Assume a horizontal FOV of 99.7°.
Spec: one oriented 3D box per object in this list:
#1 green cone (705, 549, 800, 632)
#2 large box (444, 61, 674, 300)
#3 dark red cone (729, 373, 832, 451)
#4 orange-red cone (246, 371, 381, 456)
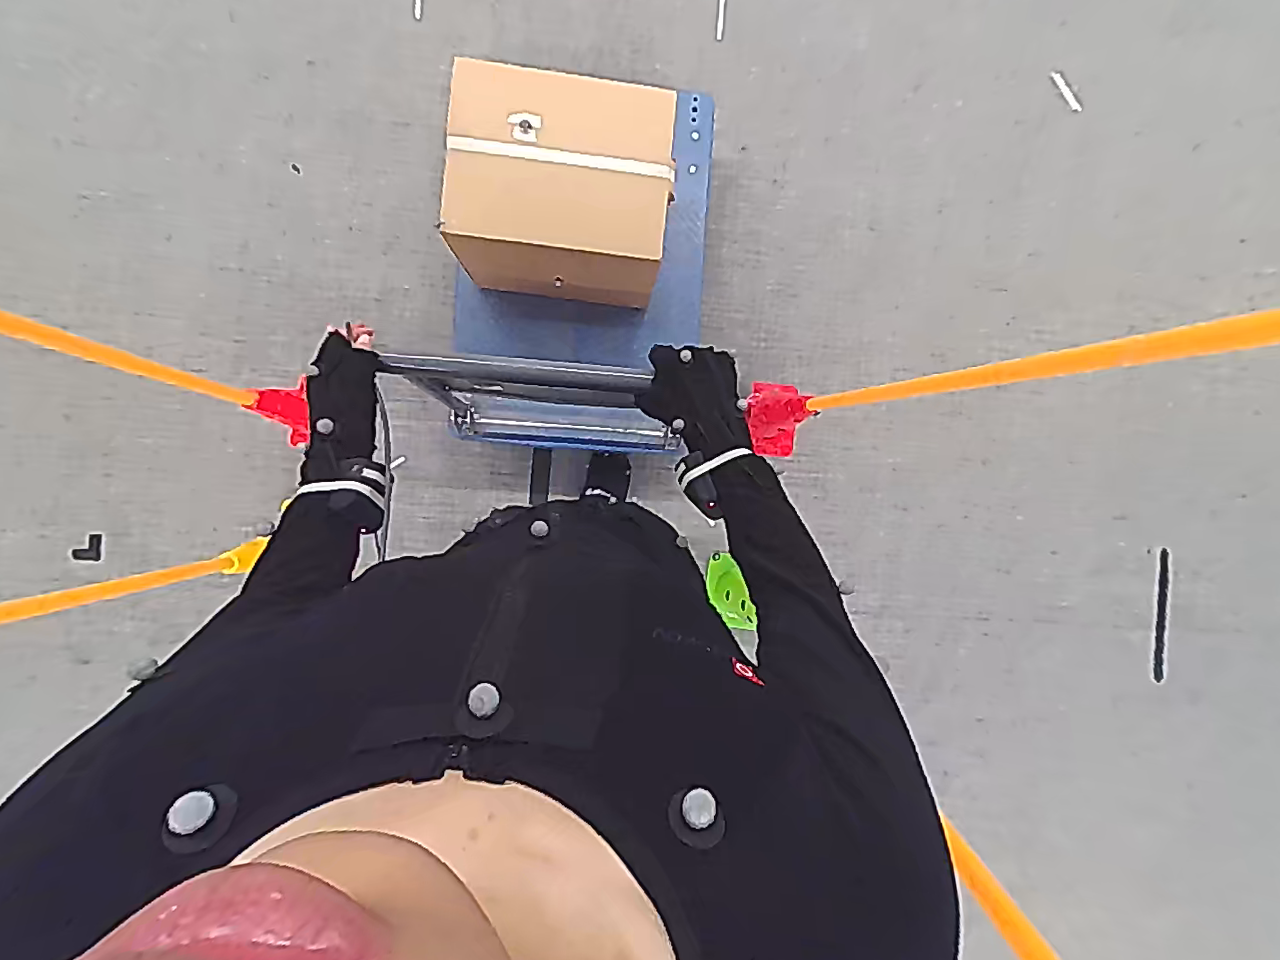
[{"bbox_3d":[0.299,0.302,1.319,0.202,0.368,0.200,8,90,-5],"label":"green cone"},{"bbox_3d":[-0.152,-0.588,1.130,0.408,0.320,0.320,6,91,-3],"label":"large box"},{"bbox_3d":[0.355,-0.180,1.297,0.201,0.394,0.202,4,91,-6],"label":"dark red cone"},{"bbox_3d":[-0.777,-0.173,1.243,0.198,0.360,0.199,12,89,-5],"label":"orange-red cone"}]
